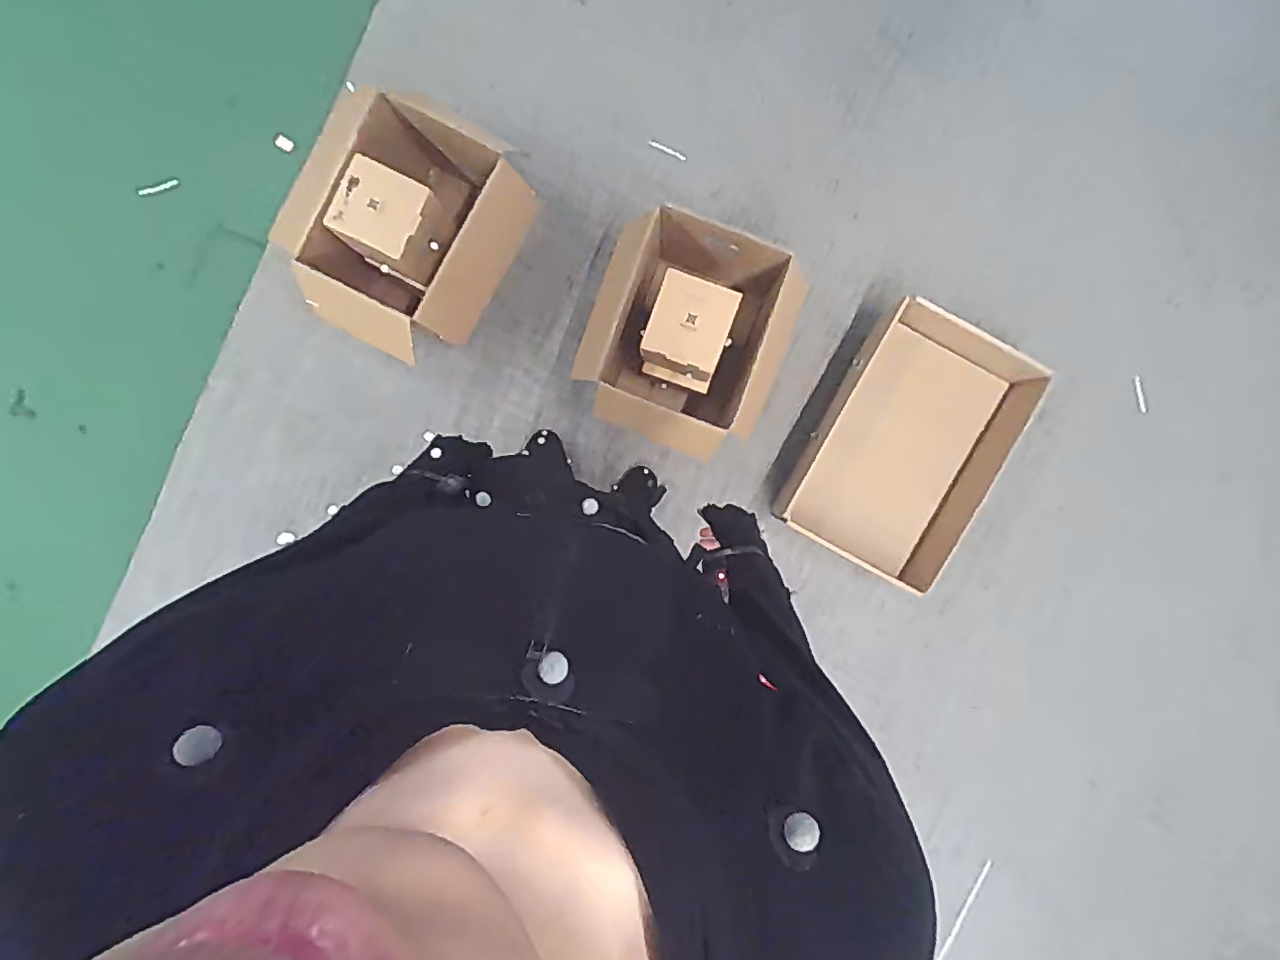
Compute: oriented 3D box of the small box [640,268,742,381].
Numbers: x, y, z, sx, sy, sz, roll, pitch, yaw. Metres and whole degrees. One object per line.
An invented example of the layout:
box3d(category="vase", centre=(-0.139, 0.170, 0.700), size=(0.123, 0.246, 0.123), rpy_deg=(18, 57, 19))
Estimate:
box3d(category="small box", centre=(0.107, -0.331, 1.192), size=(0.168, 0.176, 0.179), rpy_deg=(20, 94, 0))
